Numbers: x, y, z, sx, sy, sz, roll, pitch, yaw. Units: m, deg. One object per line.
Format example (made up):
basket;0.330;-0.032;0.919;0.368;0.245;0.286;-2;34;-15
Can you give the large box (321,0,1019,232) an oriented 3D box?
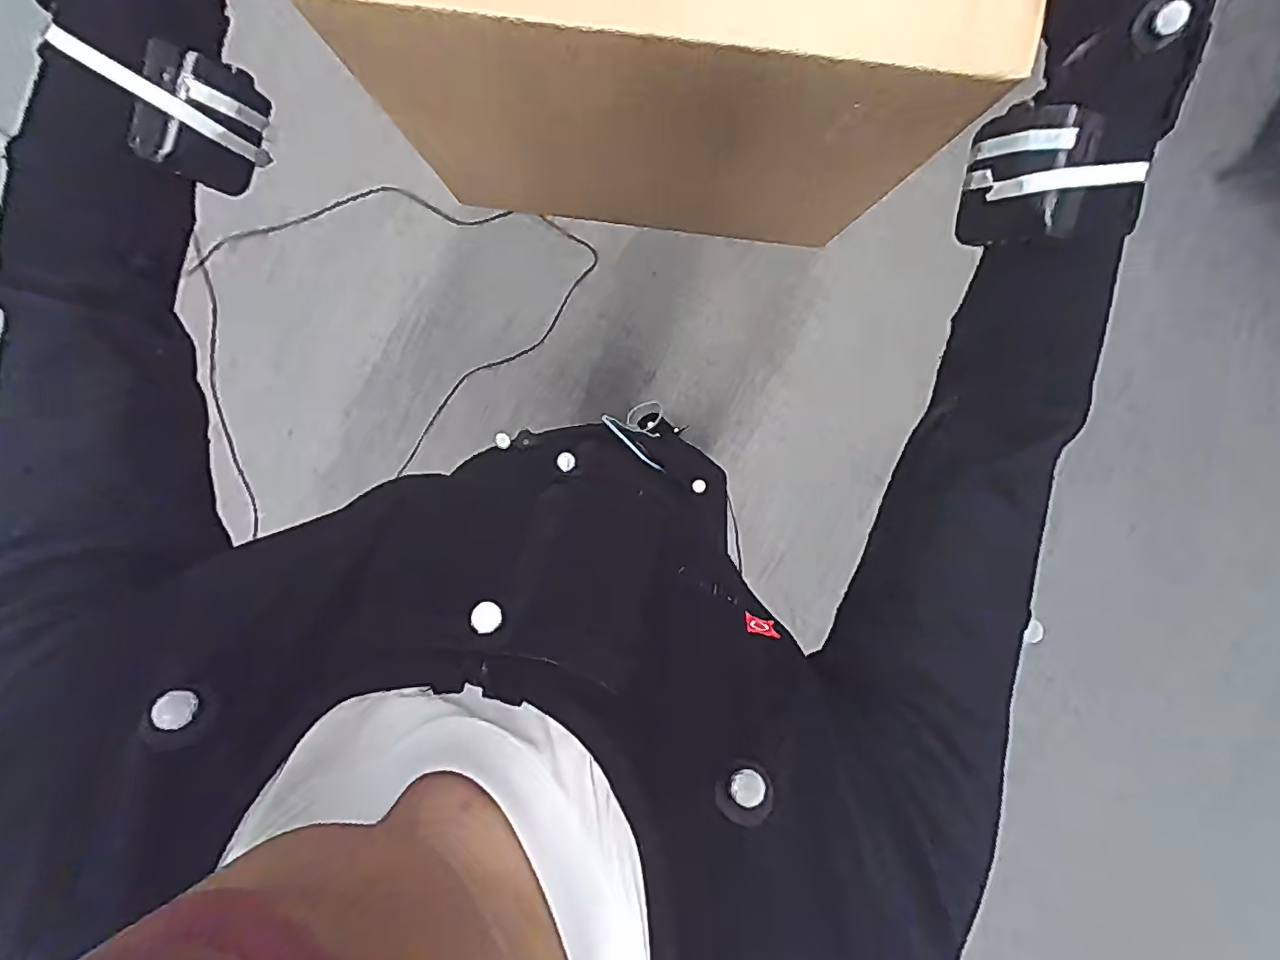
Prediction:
large box;0.017;-0.419;0.427;0.408;0.320;0.320;5;98;-3
